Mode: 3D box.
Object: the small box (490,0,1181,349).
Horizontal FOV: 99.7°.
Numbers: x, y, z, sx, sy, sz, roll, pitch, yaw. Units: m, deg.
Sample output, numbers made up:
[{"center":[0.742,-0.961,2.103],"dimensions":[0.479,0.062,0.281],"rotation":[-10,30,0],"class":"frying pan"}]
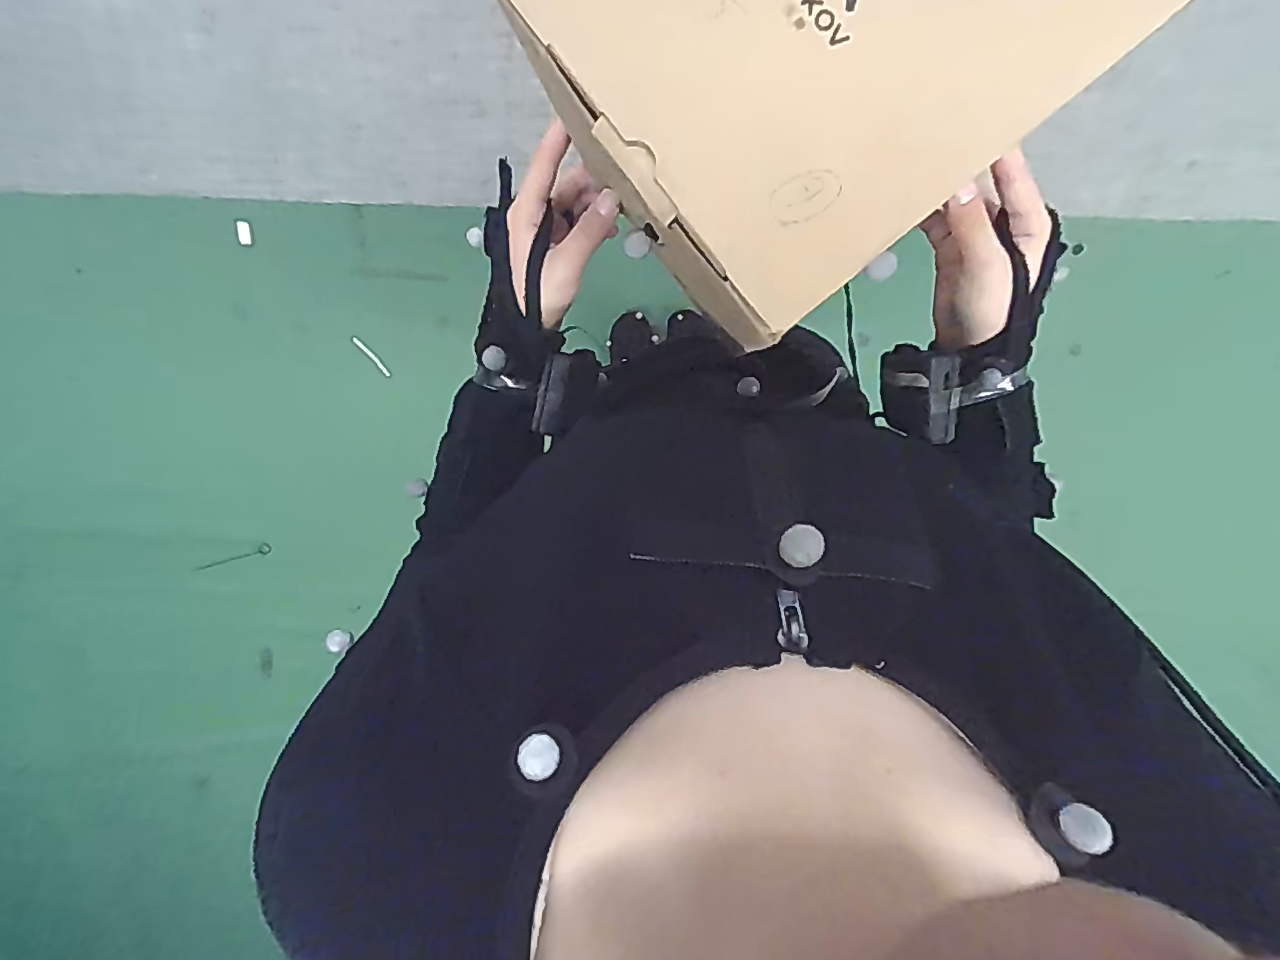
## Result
[{"center":[0.069,-0.180,0.262],"dimensions":[0.179,0.176,0.168],"rotation":[-38,94,12],"class":"small box"}]
